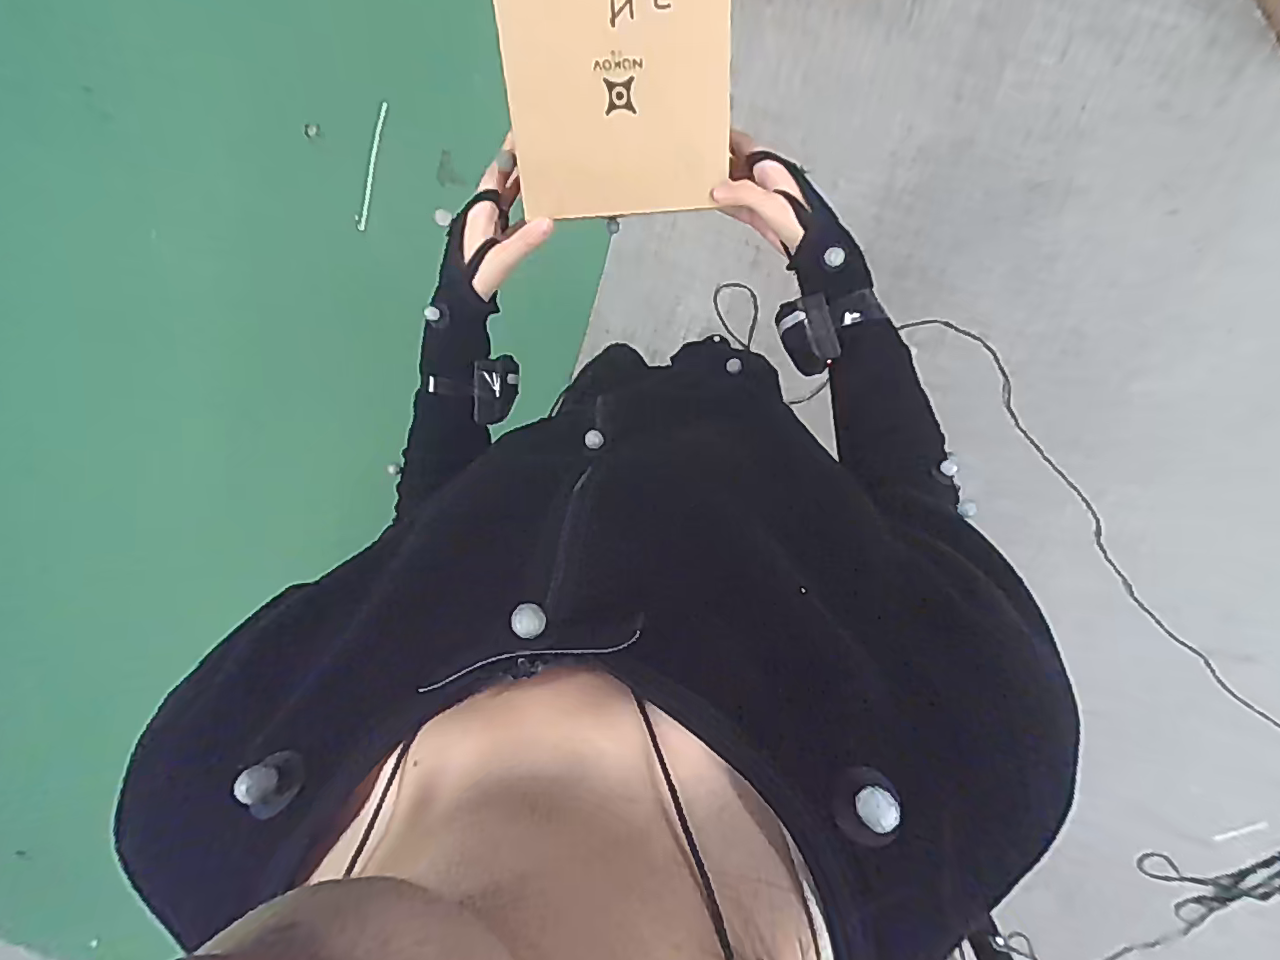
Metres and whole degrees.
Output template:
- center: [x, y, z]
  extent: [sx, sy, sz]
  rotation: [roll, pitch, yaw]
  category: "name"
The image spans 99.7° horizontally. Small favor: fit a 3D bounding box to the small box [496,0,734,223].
- center: [-0.024, -0.321, 0.460]
  extent: [0.168, 0.176, 0.179]
  rotation: [-7, 116, -6]
  category: "small box"
